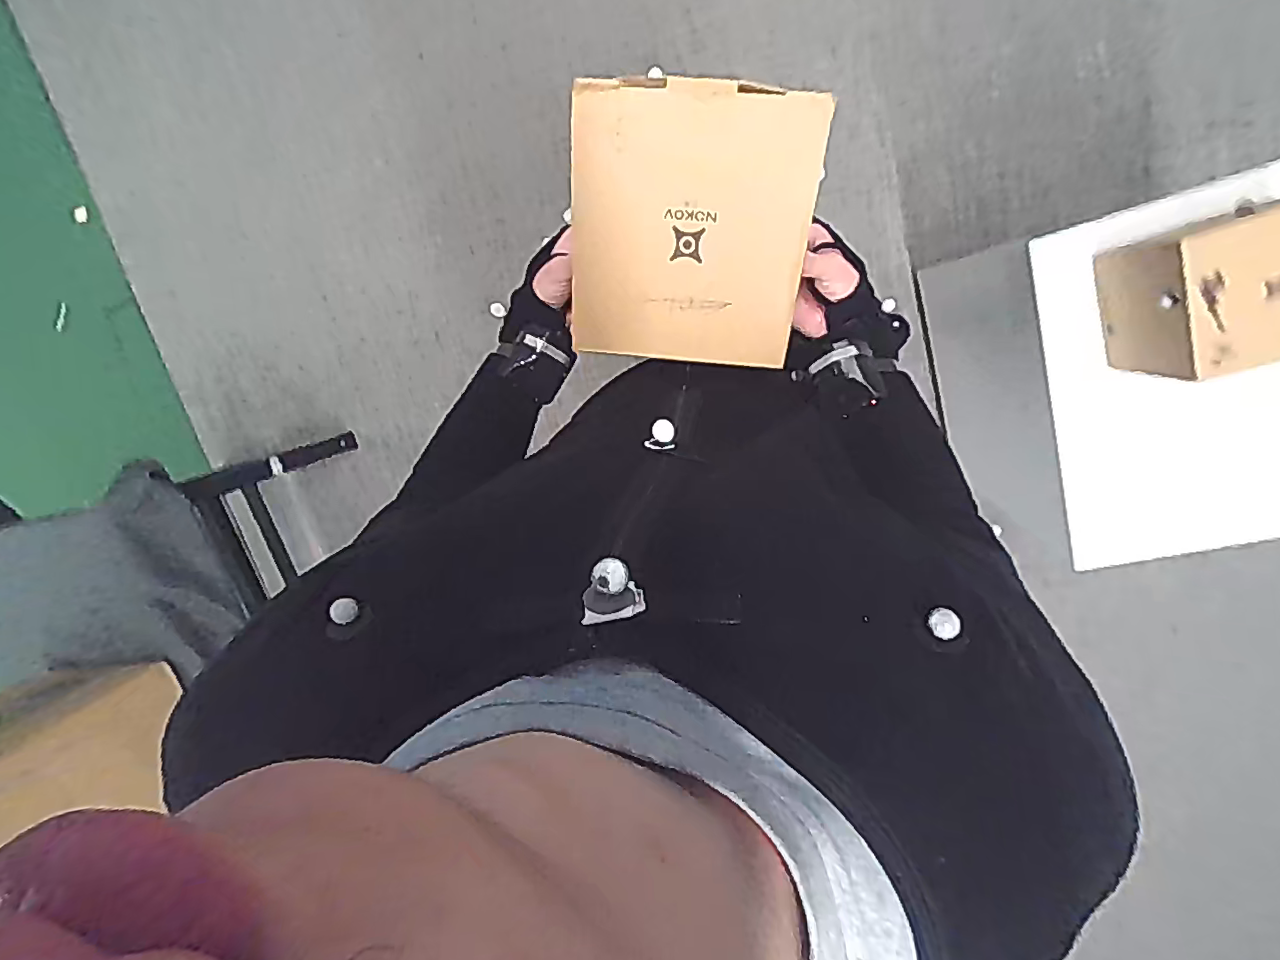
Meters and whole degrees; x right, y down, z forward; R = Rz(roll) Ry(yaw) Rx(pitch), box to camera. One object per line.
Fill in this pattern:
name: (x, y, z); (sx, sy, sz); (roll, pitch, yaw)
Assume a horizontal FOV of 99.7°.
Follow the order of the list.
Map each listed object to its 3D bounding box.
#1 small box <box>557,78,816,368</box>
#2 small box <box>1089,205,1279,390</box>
small box: (0.031, -0.209, 0.445); (0.168, 0.176, 0.179); (6, 122, 4)
small box: (0.697, -0.222, 0.651); (0.179, 0.176, 0.168); (-15, 104, 16)
